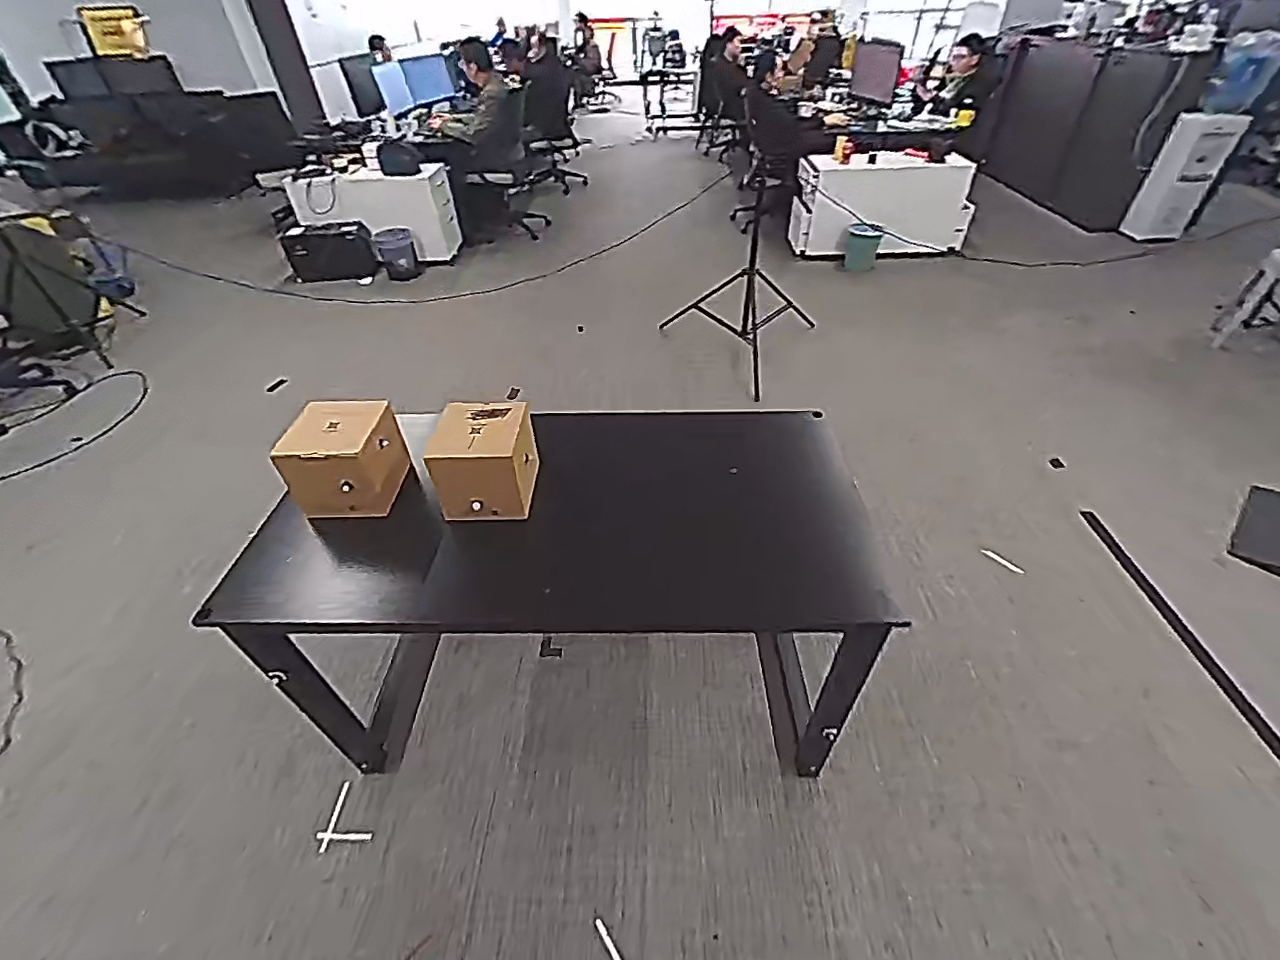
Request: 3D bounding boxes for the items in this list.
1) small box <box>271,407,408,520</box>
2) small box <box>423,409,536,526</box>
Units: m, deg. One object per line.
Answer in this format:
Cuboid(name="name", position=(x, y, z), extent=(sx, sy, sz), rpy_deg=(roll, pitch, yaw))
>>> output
Cuboid(name="small box", position=(-0.598, -0.030, 1.106), extent=(0.168, 0.176, 0.179), rpy_deg=(-1, 41, -1))
Cuboid(name="small box", position=(-0.311, -0.027, 1.092), extent=(0.168, 0.176, 0.179), rpy_deg=(-1, 42, 1))
